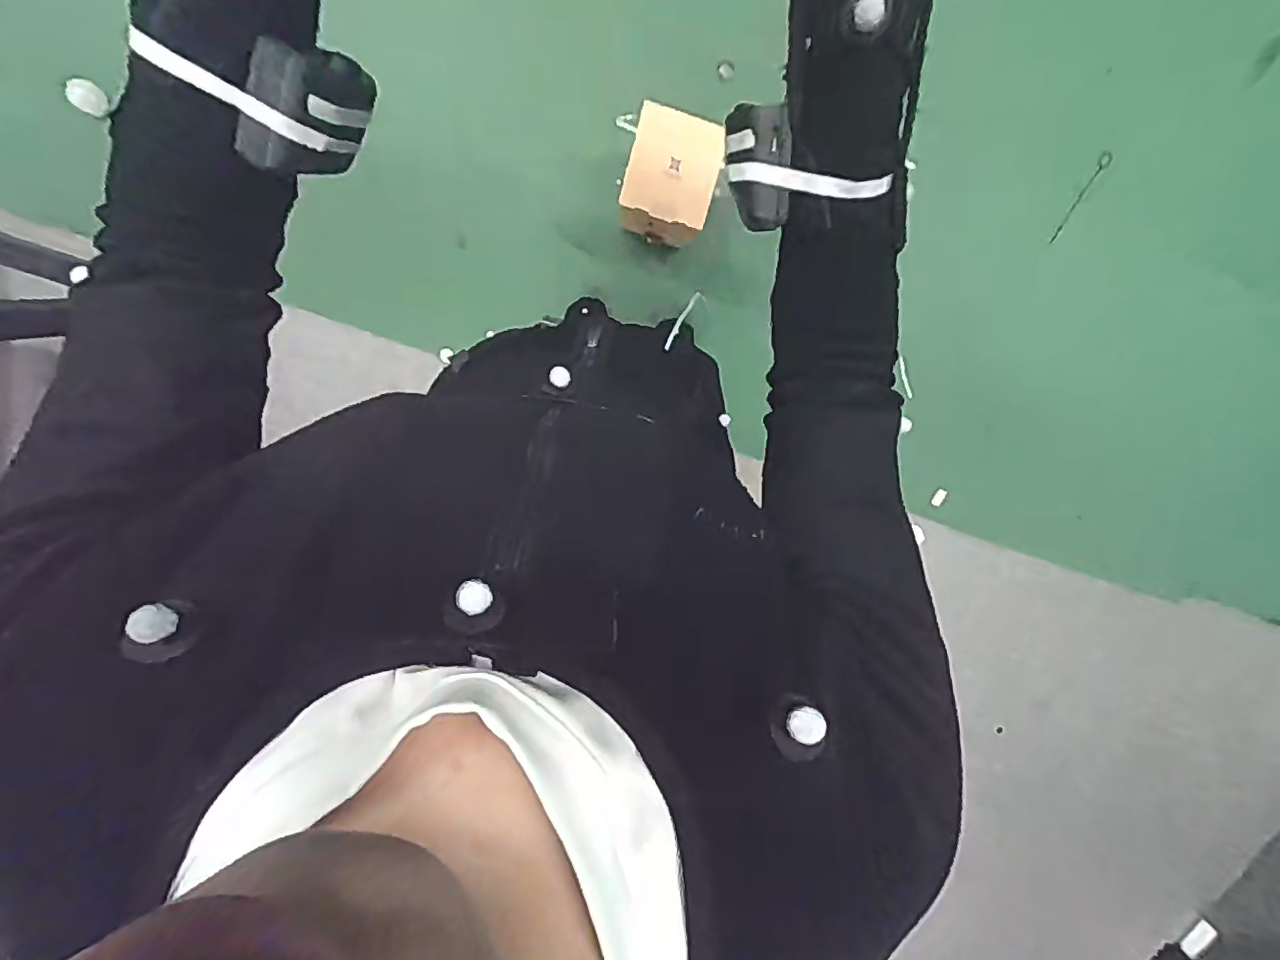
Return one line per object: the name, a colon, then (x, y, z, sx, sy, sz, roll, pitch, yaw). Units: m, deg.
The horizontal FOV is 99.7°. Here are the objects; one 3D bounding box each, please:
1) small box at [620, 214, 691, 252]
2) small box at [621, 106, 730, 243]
small box: (0.056, -0.637, 1.224, 0.168, 0.176, 0.179, 17, 106, -7)
small box: (0.060, -0.589, 1.068, 0.168, 0.176, 0.179, 15, 107, -7)
